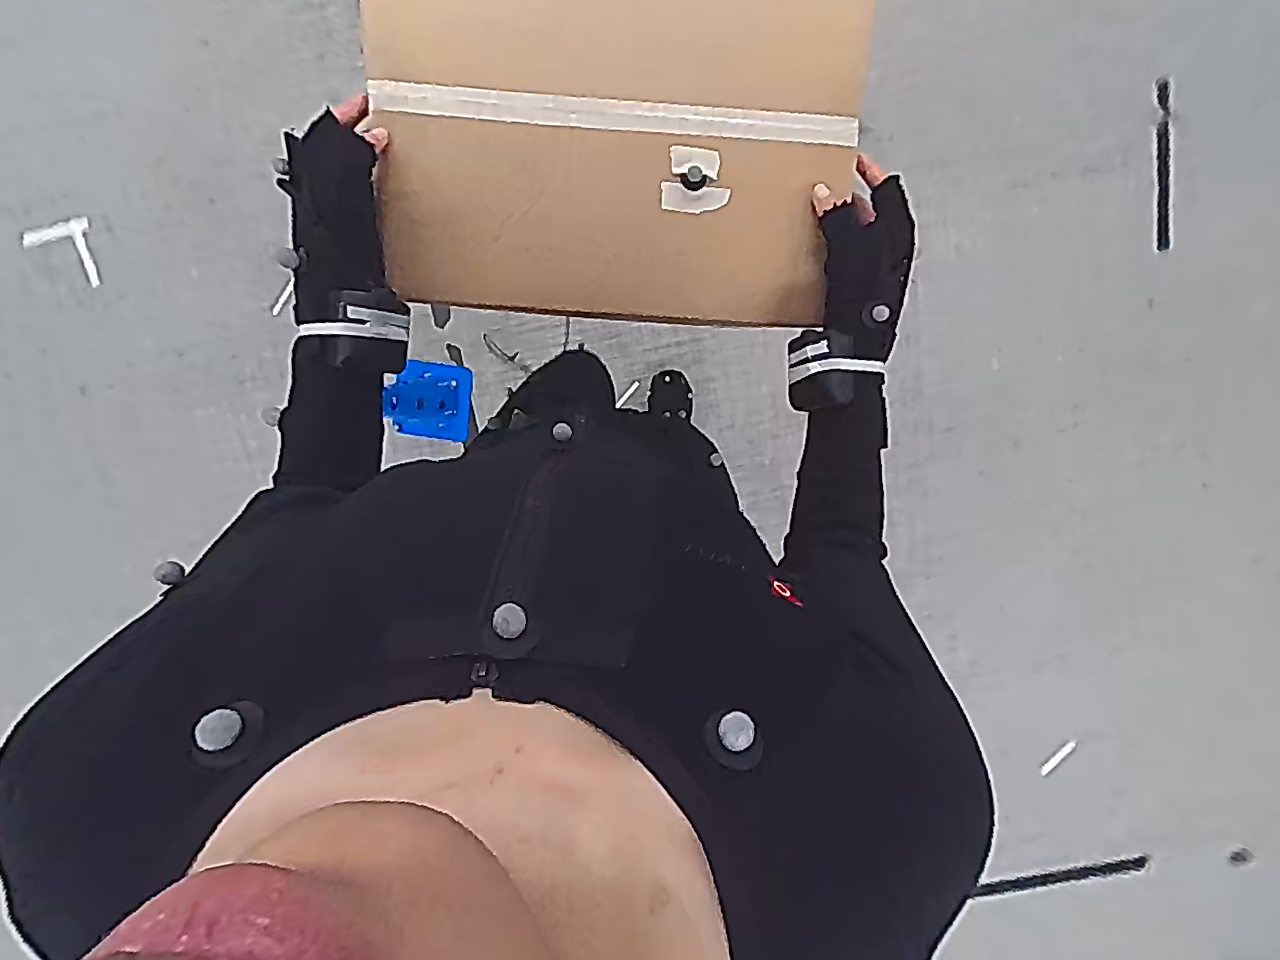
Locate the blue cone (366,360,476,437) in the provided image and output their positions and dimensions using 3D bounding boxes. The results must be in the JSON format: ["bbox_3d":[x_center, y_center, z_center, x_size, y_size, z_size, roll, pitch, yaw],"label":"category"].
[{"bbox_3d":[-0.541,-0.190,1.289,0.193,0.380,0.192,10,100,-1],"label":"blue cone"}]

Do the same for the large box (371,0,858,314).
[{"bbox_3d":[-0.027,-0.356,0.603,0.408,0.320,0.320,2,106,-3],"label":"large box"}]
